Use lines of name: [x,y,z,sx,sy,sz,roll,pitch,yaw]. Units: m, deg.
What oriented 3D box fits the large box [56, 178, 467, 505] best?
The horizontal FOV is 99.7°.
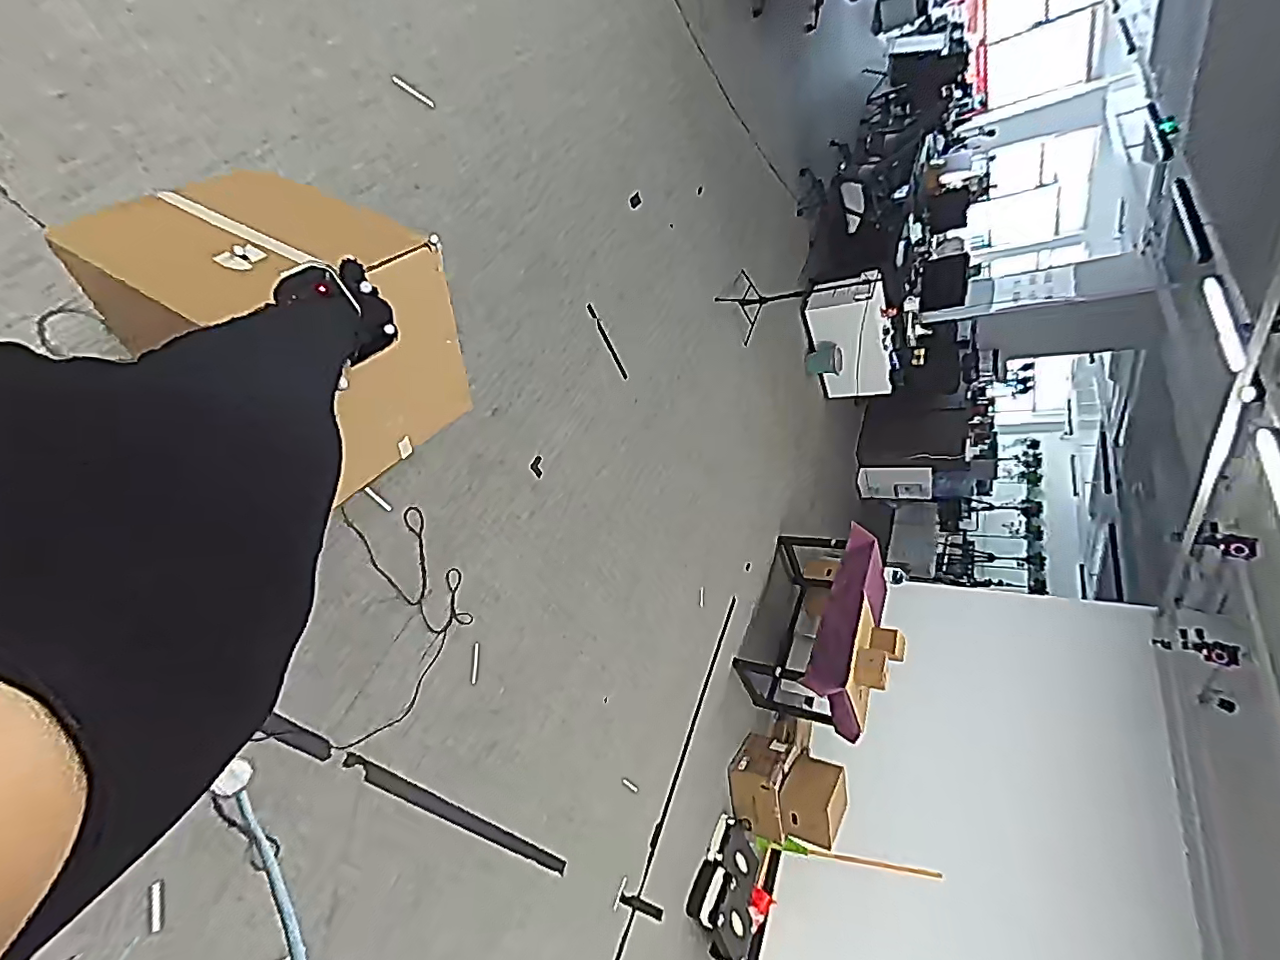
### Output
large box: [-0.552,-0.229,0.869,0.320,0.408,0.320,-50,160,-36]
